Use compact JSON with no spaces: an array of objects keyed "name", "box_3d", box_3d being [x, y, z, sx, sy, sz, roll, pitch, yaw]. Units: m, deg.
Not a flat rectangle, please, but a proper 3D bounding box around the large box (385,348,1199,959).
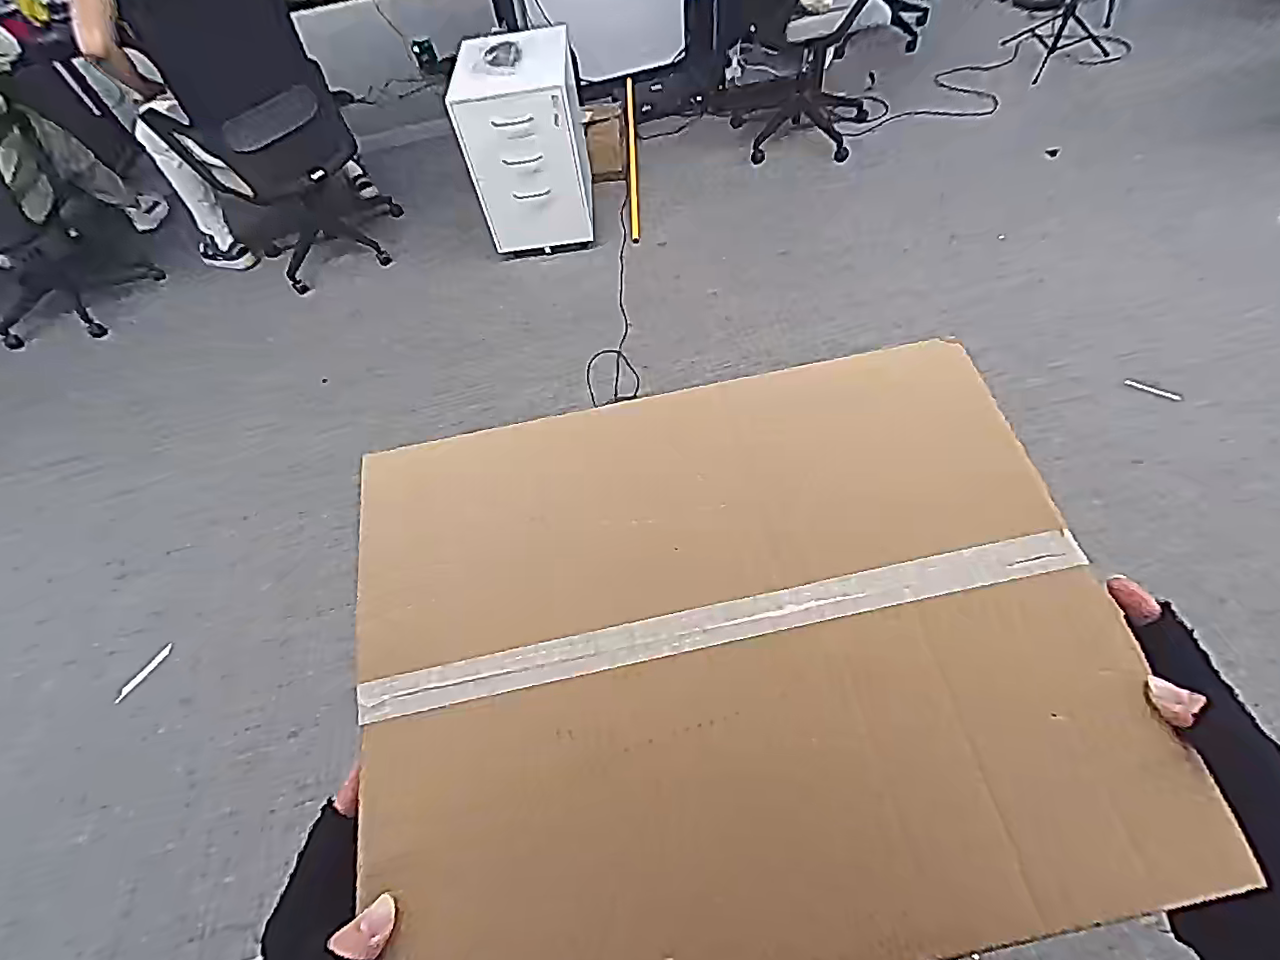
[{"name":"large box","box_3d":[0.056,0.145,0.451,0.408,0.320,0.320,-12,66,-1]}]
